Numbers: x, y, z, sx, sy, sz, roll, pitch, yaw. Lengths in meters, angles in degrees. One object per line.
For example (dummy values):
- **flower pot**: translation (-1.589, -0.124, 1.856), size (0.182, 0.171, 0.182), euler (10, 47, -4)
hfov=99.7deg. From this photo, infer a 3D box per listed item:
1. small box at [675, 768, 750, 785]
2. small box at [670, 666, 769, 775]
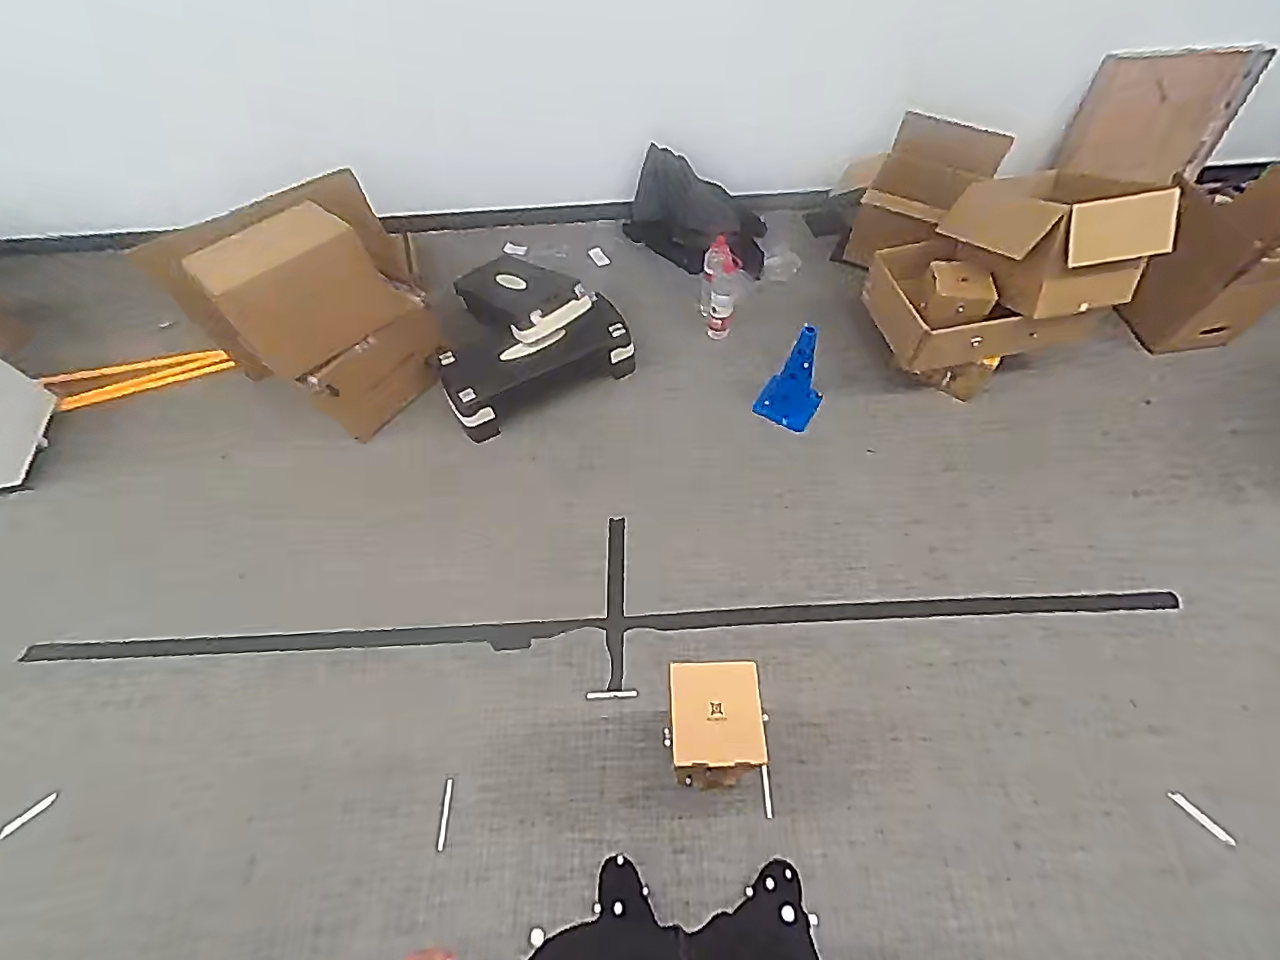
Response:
- **small box**: translation (0.165, 0.644, 1.328), size (0.168, 0.176, 0.179), euler (-5, 60, 0)
- **small box**: translation (0.145, 0.471, 1.051), size (0.168, 0.176, 0.179), euler (-2, 59, 1)
